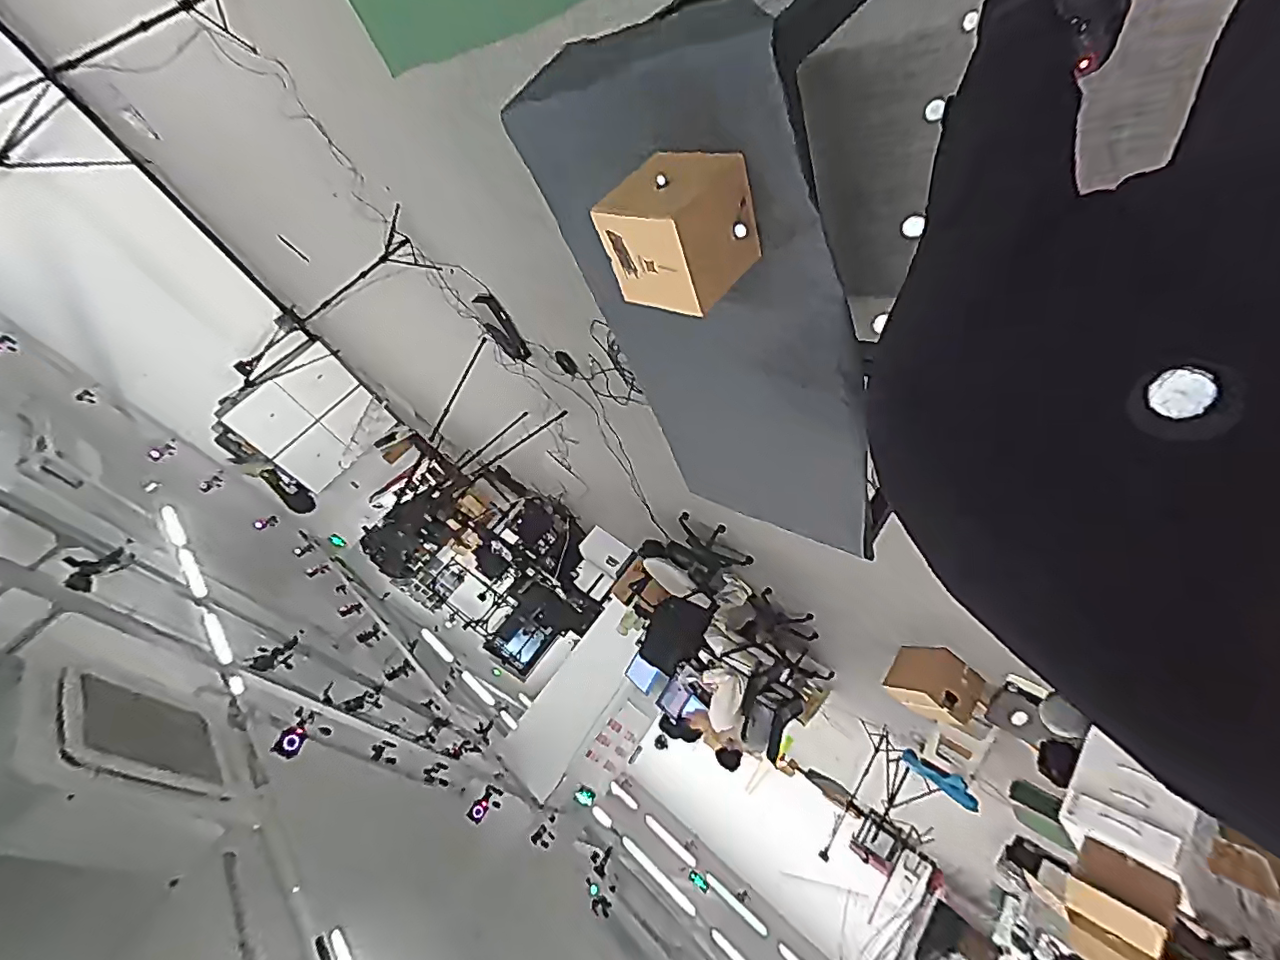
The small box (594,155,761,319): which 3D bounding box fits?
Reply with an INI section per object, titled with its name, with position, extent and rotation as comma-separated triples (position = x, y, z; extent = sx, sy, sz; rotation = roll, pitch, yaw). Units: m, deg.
[small box]
position = 0.064, -0.388, 0.855
extent = 0.179, 0.176, 0.168
rotation = 27, 158, 37
